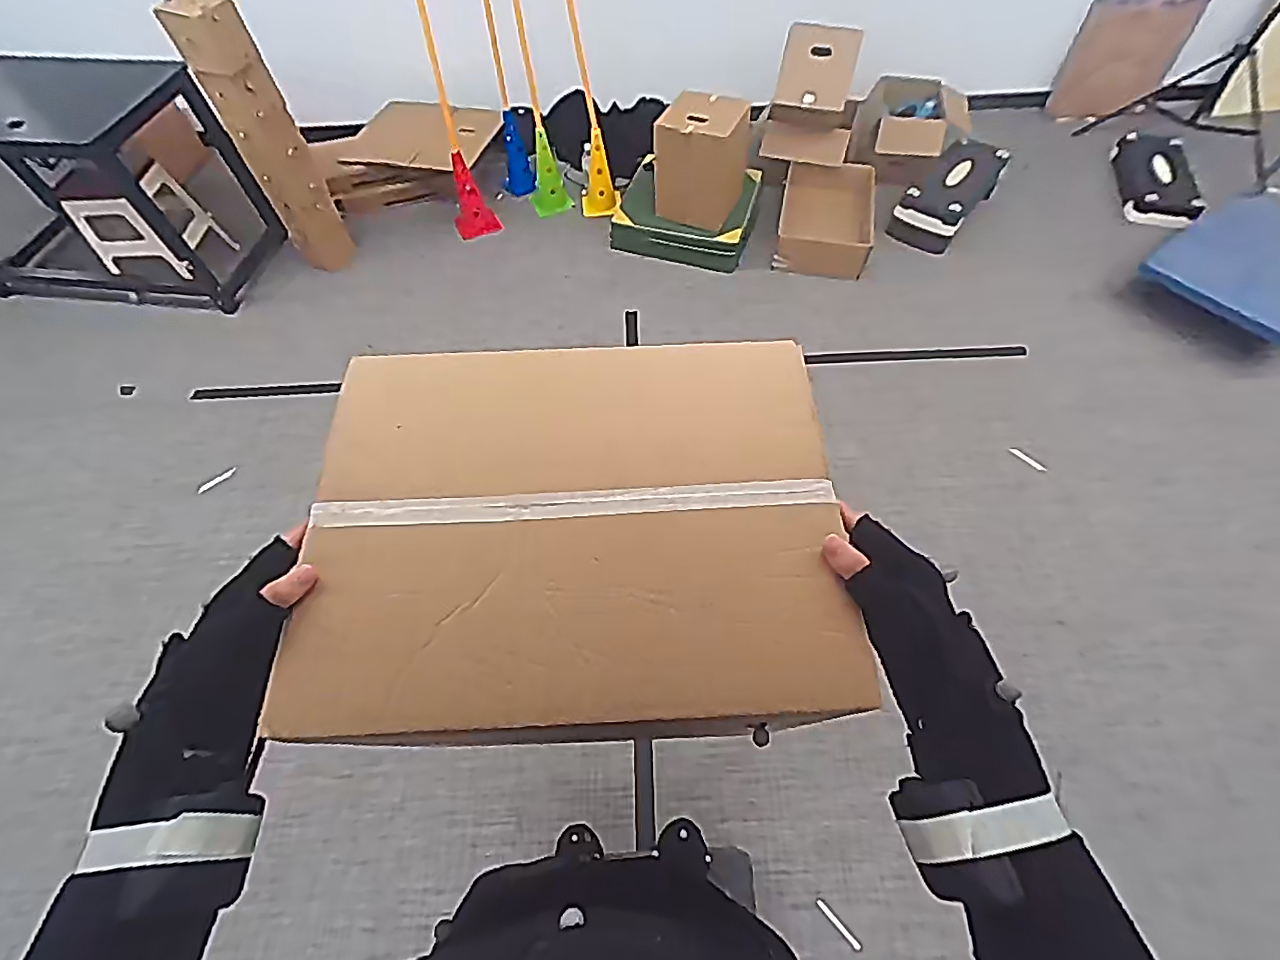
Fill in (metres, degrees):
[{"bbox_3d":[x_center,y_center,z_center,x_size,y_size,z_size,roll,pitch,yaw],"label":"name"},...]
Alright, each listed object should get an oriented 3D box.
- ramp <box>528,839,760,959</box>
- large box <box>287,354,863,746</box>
[{"bbox_3d":[0.024,1.281,1.029,0.509,0.206,0.991,-3,59,-2],"label":"ramp"},{"bbox_3d":[-0.048,0.096,0.566,0.408,0.320,0.320,-3,62,-1],"label":"large box"}]
